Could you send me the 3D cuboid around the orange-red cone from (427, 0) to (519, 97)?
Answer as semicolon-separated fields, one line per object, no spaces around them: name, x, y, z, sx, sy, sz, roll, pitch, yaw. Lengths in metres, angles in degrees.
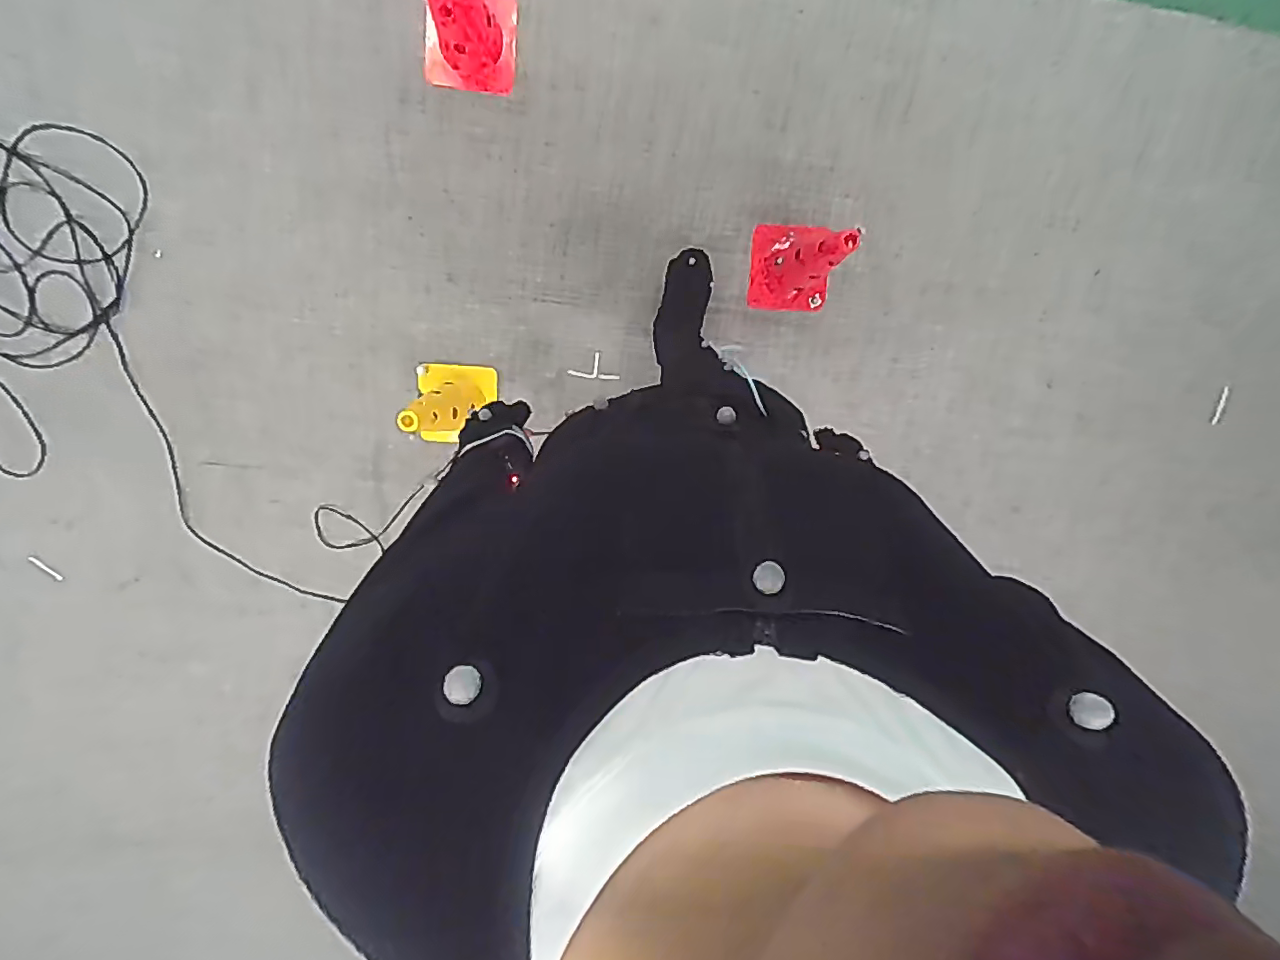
orange-red cone;-0.370;-0.942;1.051;0.198;0.360;0.199;6;104;-3

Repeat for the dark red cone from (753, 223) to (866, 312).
dark red cone;0.387;-0.484;1.169;0.202;0.394;0.201;0;102;-3
